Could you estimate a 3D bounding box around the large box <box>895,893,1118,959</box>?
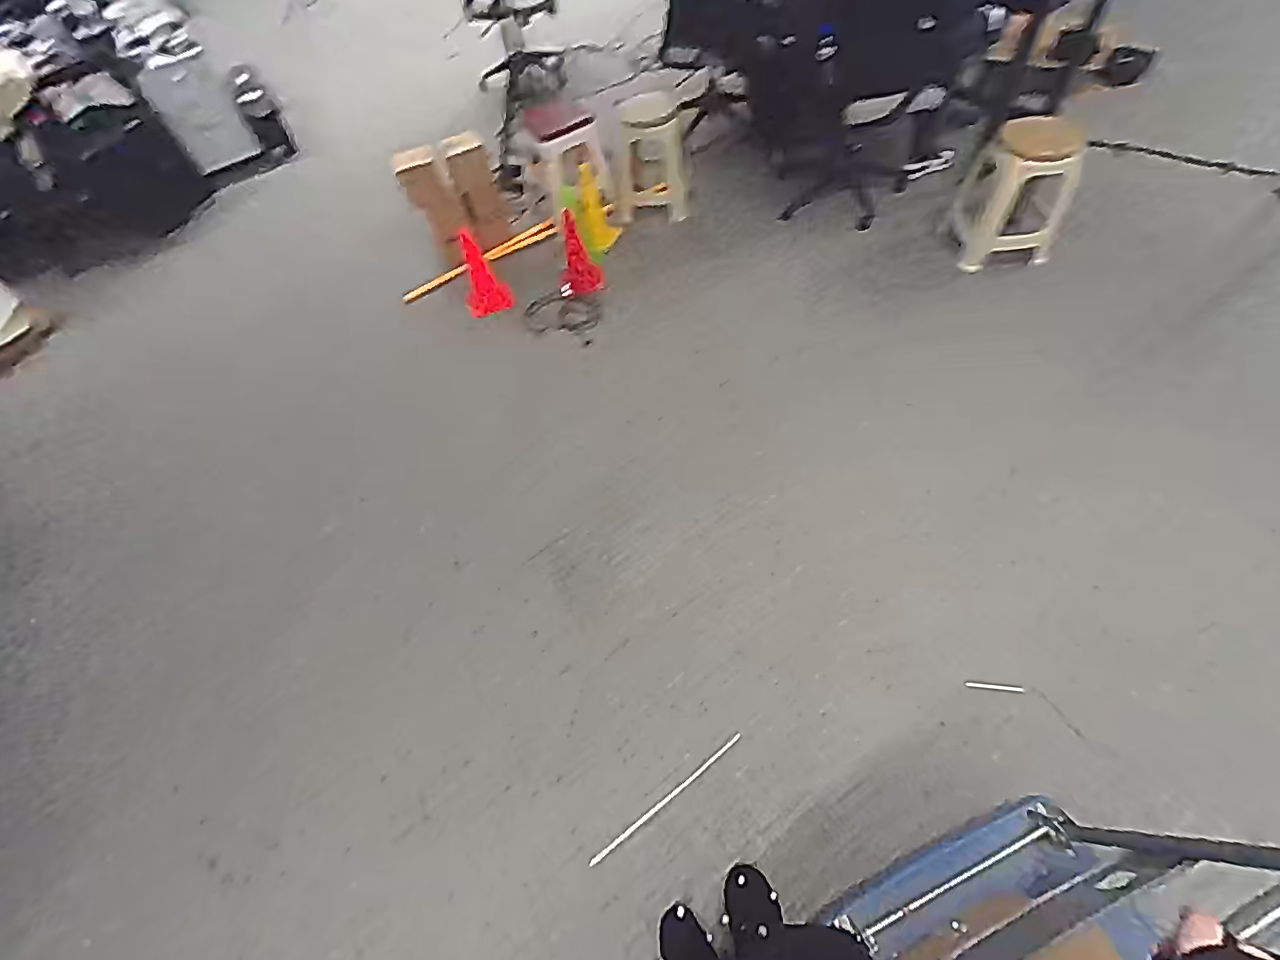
[{"bbox_3d":[0.638,0.947,0.827,0.320,0.320,0.408,-25,58,-9],"label":"large box"}]
